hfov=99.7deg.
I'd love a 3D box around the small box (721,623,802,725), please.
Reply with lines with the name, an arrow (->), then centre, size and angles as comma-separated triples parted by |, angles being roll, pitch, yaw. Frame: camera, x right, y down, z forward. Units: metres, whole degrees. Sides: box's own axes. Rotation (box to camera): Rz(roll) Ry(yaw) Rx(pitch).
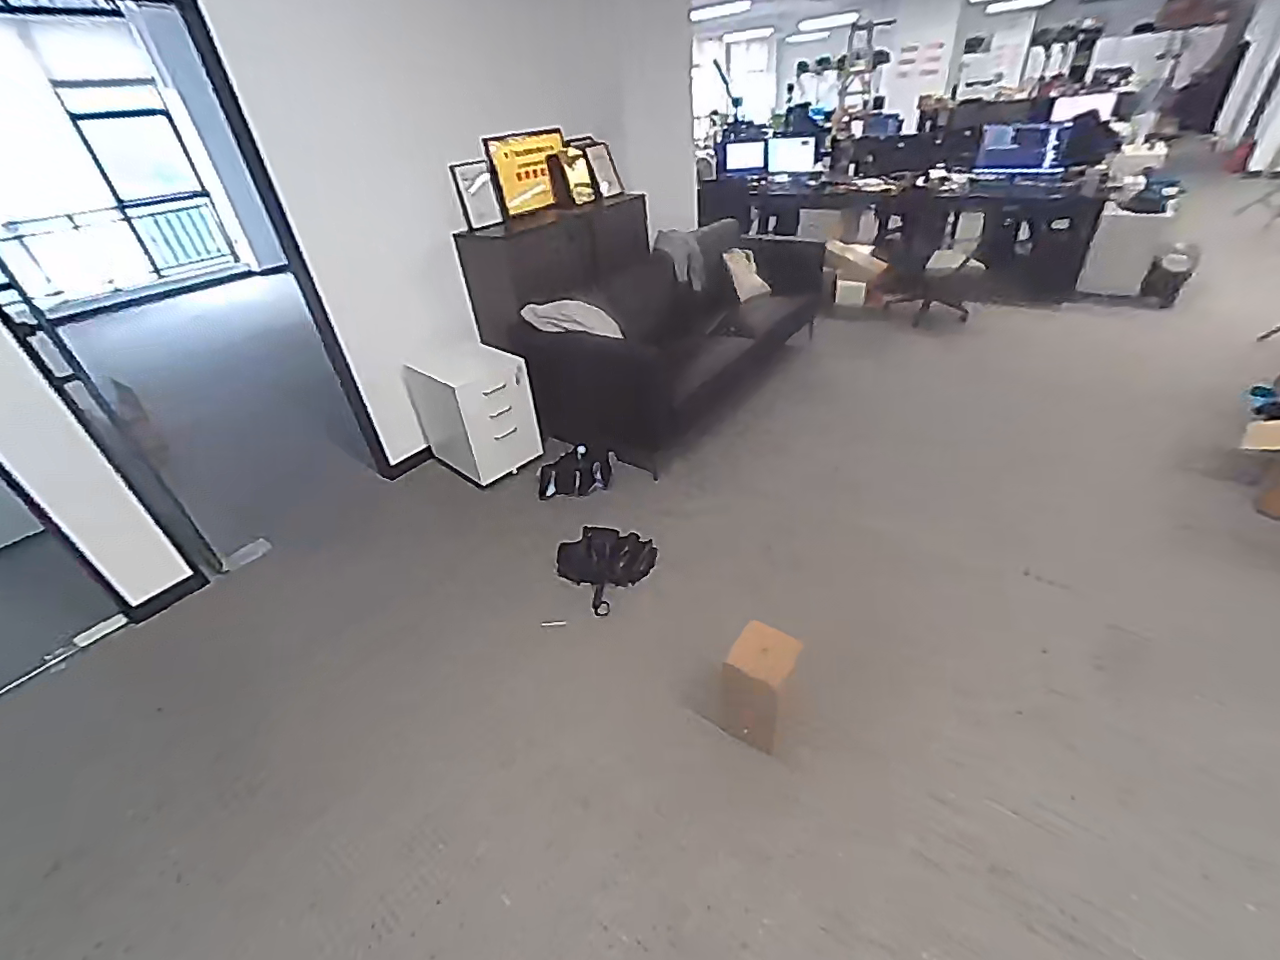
small box -> 0.341, 0.547, 1.521 | 0.168, 0.176, 0.179 | 19, 40, 30

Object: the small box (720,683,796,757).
small box -> 0.352, 0.681, 1.612 | 0.168, 0.176, 0.179 | 18, 41, 30
